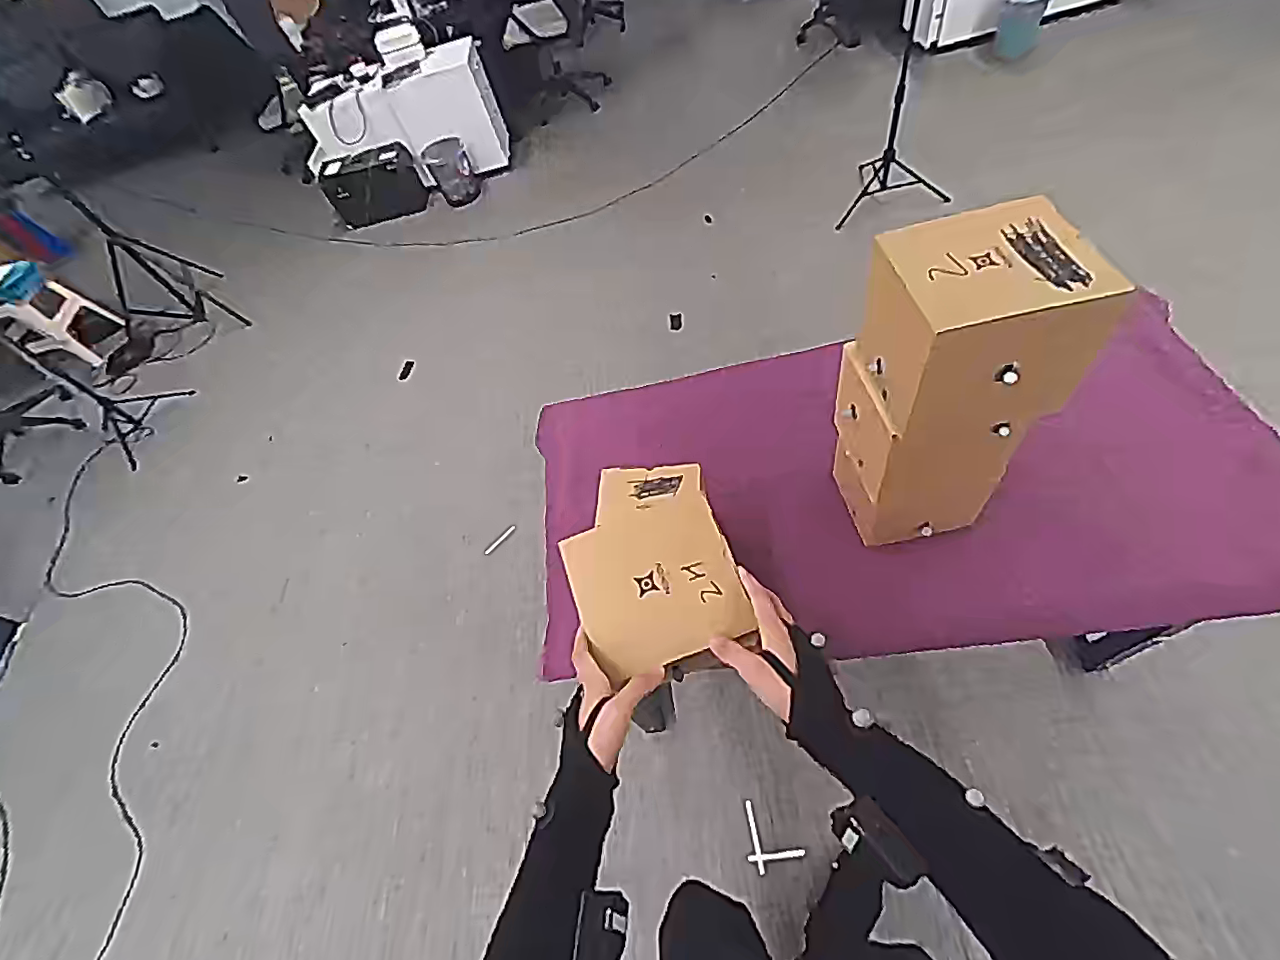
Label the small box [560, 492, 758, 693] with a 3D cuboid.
[{"bbox_3d":[0.027,0.142,0.641,0.179,0.176,0.168,-20,65,0],"label":"small box"}]

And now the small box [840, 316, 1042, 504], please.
[{"bbox_3d":[0.383,-0.087,0.733,0.179,0.176,0.168,-13,54,5],"label":"small box"}]

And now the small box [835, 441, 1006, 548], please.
[{"bbox_3d":[0.432,-0.010,0.869,0.179,0.176,0.168,-13,54,4],"label":"small box"}]

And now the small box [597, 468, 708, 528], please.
[{"bbox_3d":[0.029,0.100,0.895,0.168,0.176,0.179,-3,57,12],"label":"small box"}]
